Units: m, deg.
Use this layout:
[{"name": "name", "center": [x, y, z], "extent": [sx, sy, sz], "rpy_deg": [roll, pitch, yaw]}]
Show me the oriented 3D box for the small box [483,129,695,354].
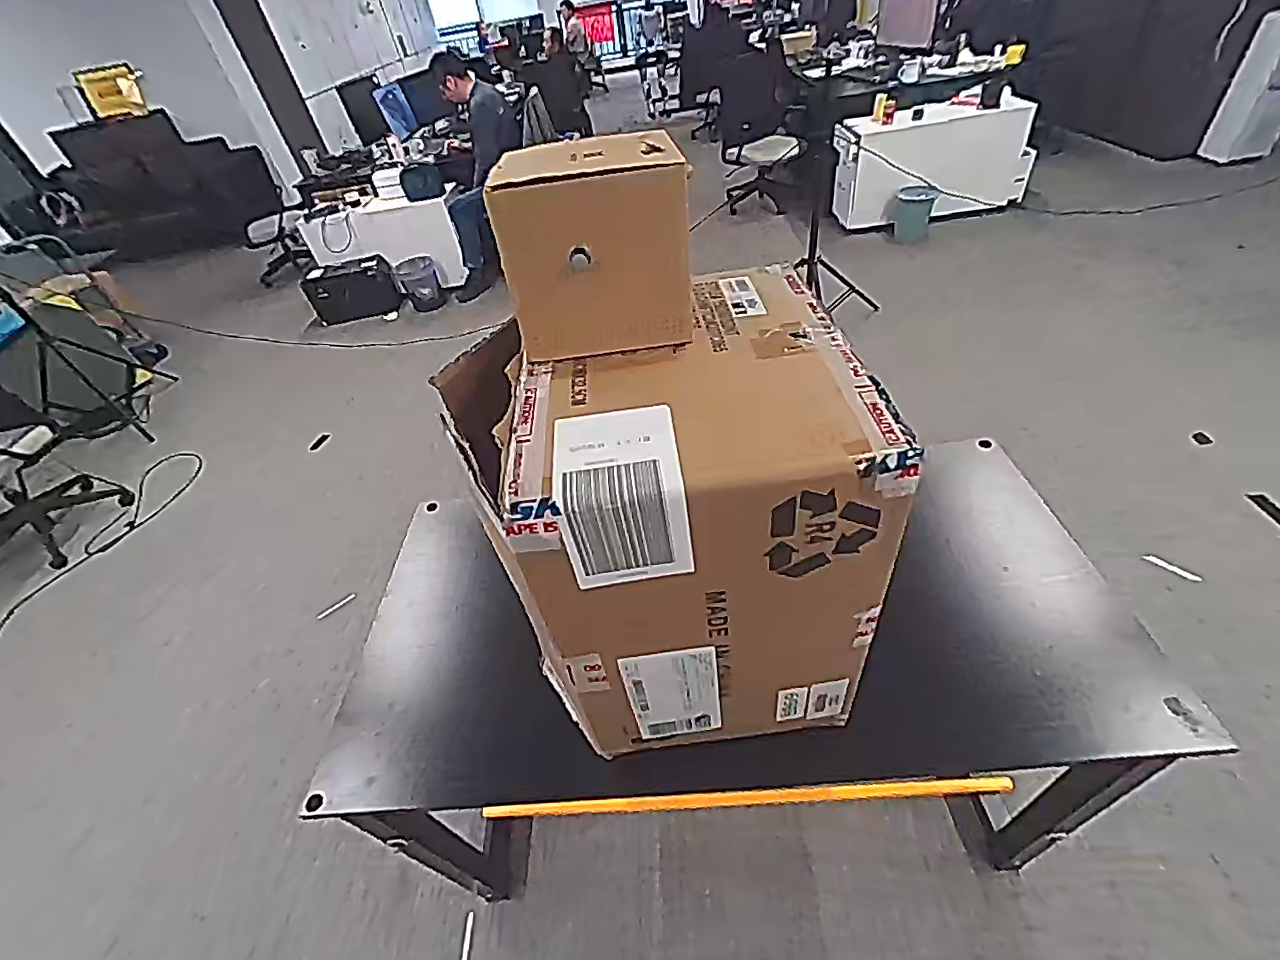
[{"name": "small box", "center": [-0.044, -0.246, 0.566], "extent": [0.179, 0.176, 0.168], "rpy_deg": [-8, 41, 1]}]
